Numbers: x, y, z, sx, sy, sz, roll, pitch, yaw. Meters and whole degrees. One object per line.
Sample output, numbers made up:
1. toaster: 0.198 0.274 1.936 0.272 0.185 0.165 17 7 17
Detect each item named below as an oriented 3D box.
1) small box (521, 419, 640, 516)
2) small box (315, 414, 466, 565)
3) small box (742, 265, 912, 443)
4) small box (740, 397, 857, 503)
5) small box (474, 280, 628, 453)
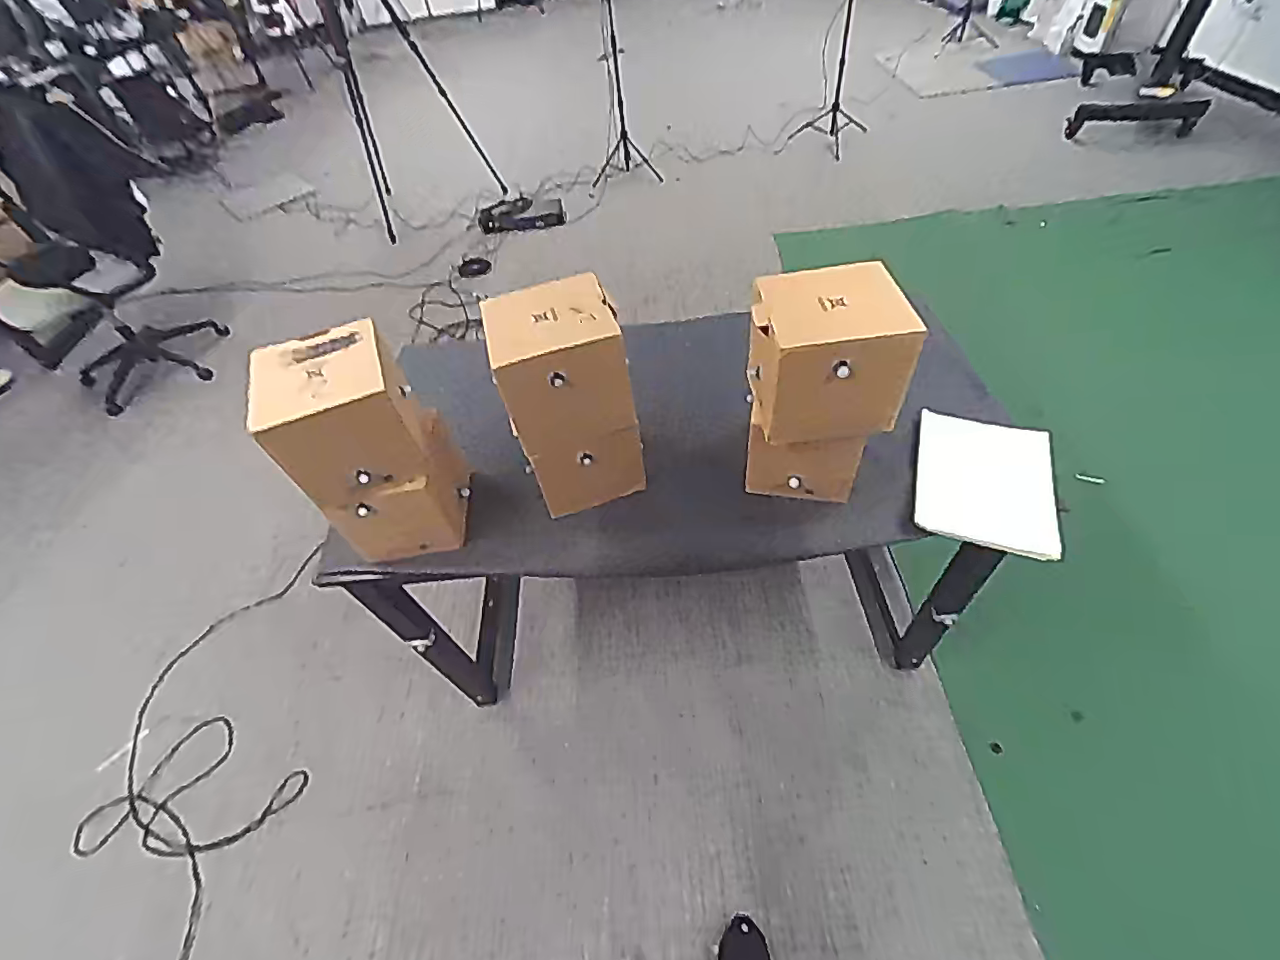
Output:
1. small box: -0.111 -0.062 0.936 0.179 0.176 0.168 -19 51 -8
2. small box: -0.402 0.018 0.909 0.168 0.176 0.179 -10 50 -1
3. small box: 0.245 -0.171 0.759 0.179 0.176 0.168 -8 50 3
4. small box: 0.259 -0.087 0.899 0.168 0.176 0.179 6 52 13
5. small box: -0.129 -0.164 0.807 0.179 0.176 0.168 -17 51 -6
